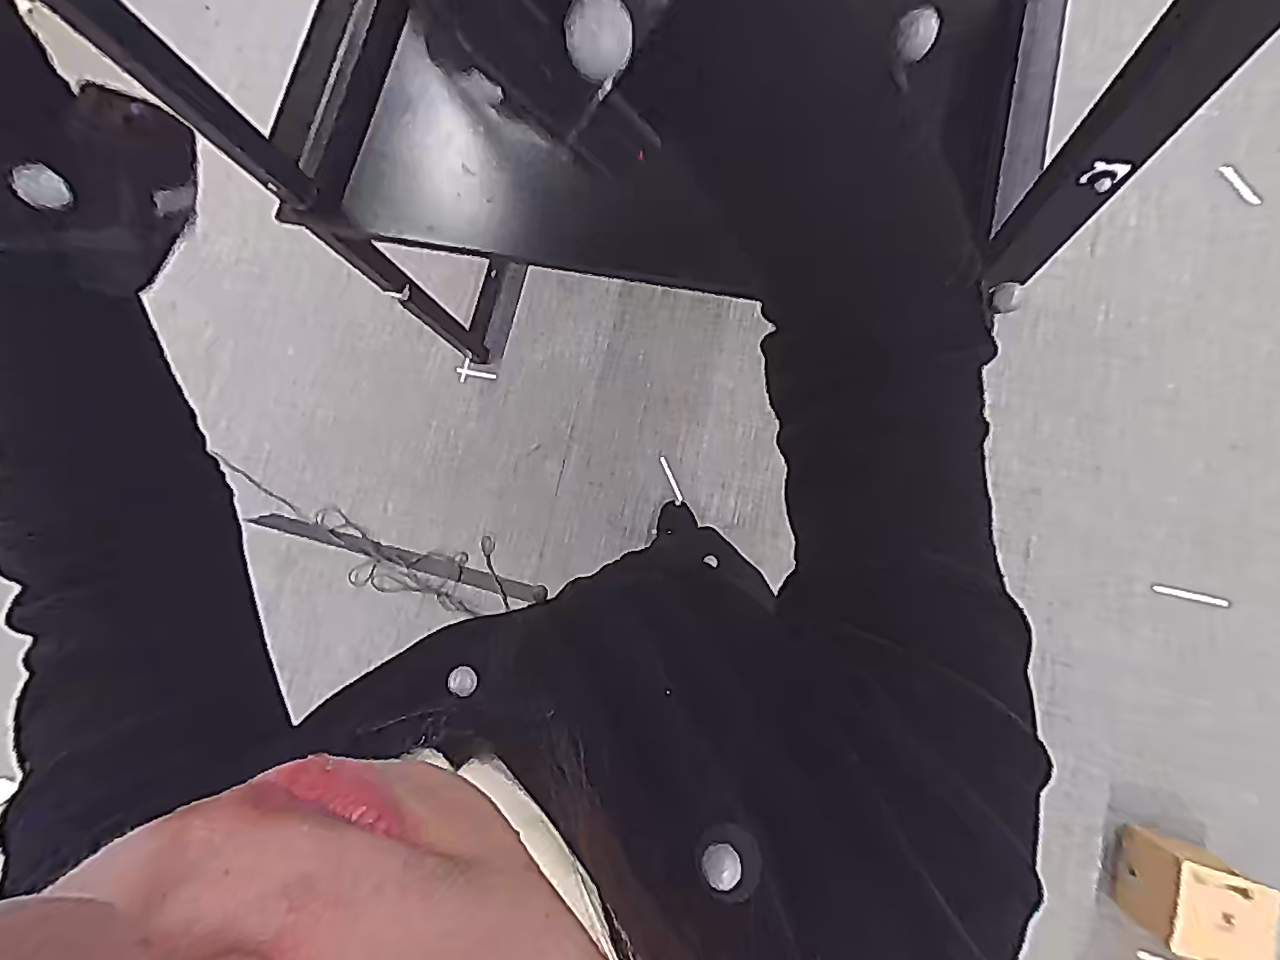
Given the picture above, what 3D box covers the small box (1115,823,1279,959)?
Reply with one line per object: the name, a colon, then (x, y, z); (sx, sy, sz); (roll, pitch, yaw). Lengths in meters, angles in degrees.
small box: (1.139, 0.863, 1.121); (0.168, 0.176, 0.179); (14, 84, 11)
